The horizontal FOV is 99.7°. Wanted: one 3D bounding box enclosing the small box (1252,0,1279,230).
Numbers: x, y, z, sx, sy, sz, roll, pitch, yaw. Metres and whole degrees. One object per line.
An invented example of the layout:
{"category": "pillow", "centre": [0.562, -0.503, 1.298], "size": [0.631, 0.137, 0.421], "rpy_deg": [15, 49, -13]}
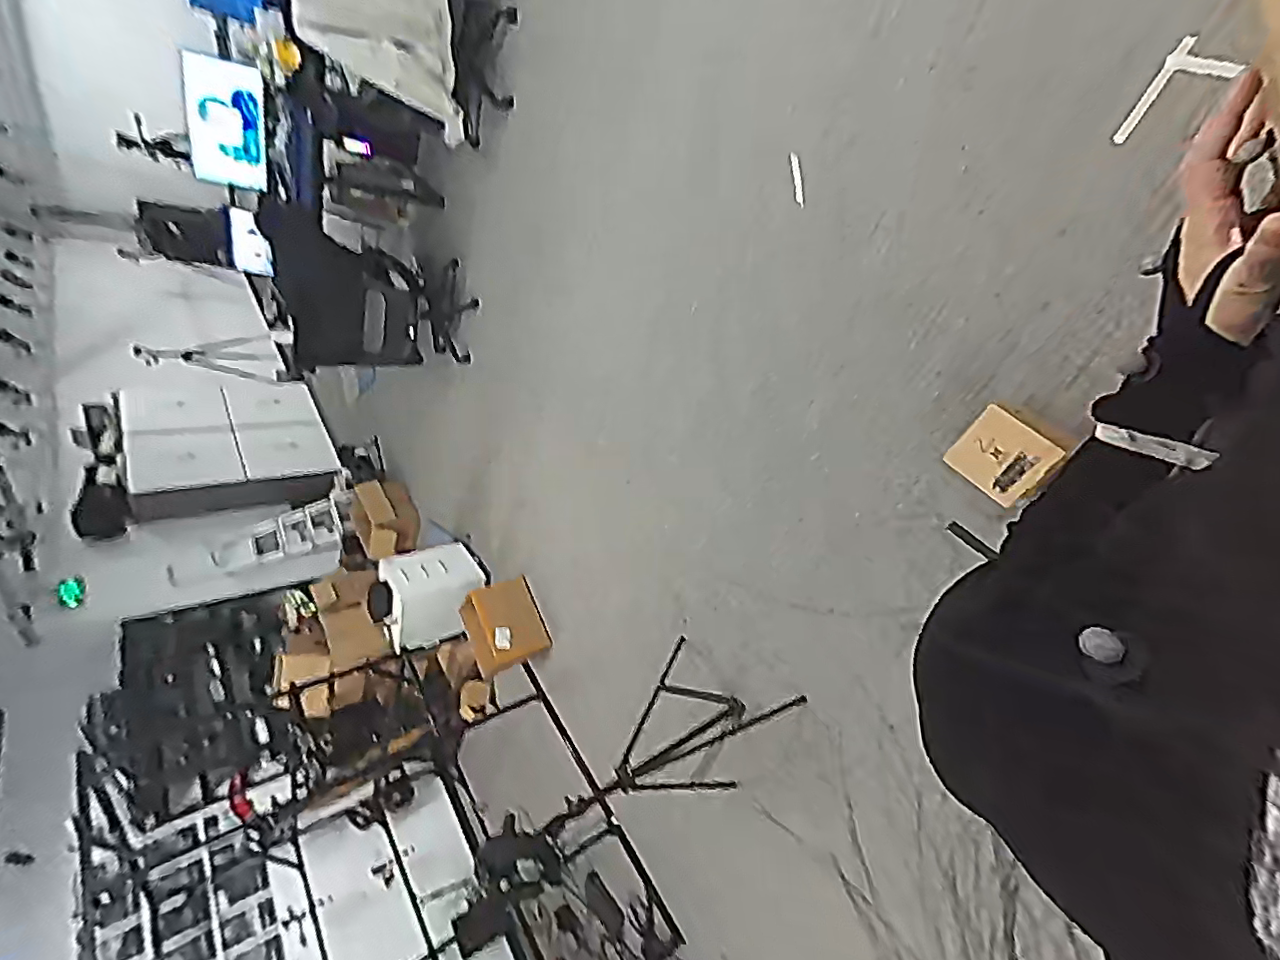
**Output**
{"category": "small box", "centre": [0.394, -0.186, 0.228], "size": [0.168, 0.176, 0.179], "rpy_deg": [-10, 87, 49]}
